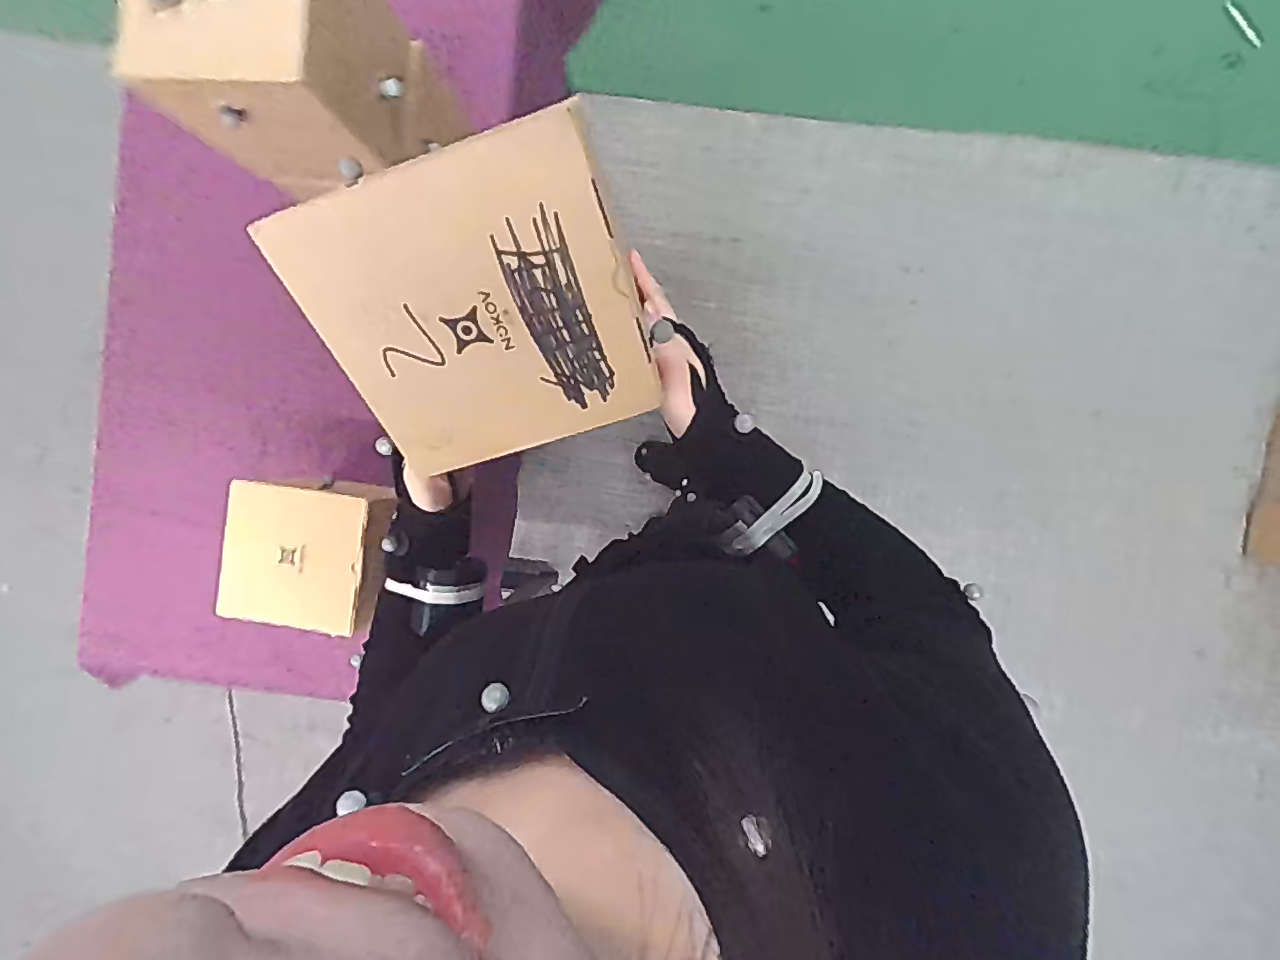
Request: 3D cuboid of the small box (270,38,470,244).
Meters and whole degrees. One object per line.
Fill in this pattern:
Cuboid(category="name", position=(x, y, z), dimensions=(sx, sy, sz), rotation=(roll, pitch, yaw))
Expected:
Cuboid(category="small box", position=(-0.338, -0.430, 0.706), dimensions=(0.168, 0.176, 0.179), rotation=(8, 91, 5))

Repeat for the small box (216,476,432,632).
Cuboid(category="small box", position=(-0.407, 0.088, 0.720), dimensions=(0.179, 0.176, 0.168), rotation=(7, 91, 4))

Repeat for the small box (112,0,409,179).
Cuboid(category="small box", position=(-0.361, -0.429, 0.543), dimensions=(0.179, 0.176, 0.168), rotation=(5, 92, 4))
